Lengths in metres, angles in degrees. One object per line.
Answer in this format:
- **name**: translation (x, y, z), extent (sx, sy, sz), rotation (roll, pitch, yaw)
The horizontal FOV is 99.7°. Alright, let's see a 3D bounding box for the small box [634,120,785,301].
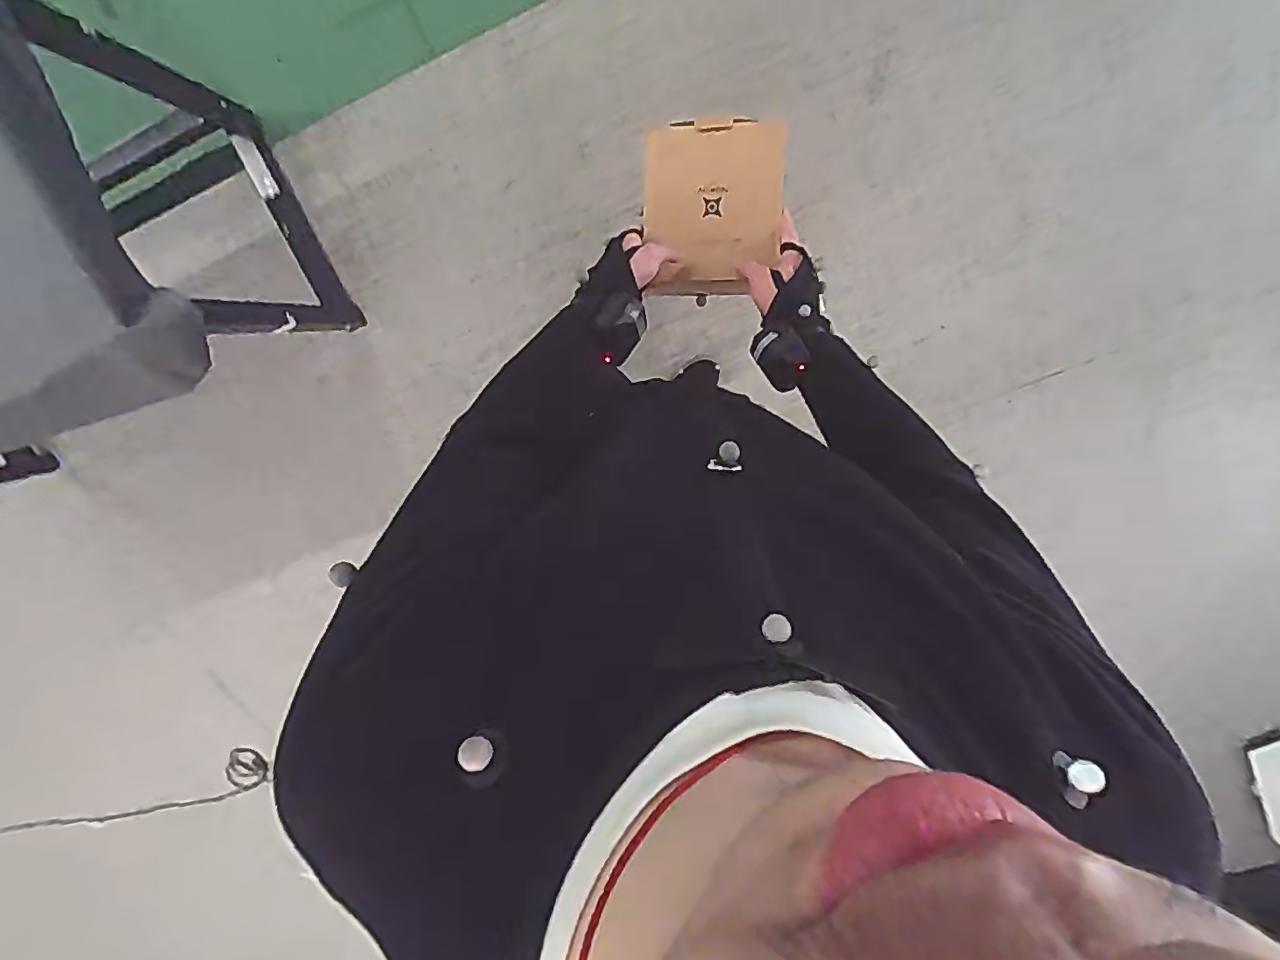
- **small box**: translation (0.087, -0.336, 0.704), extent (0.168, 0.176, 0.179), rotation (4, 103, 7)
